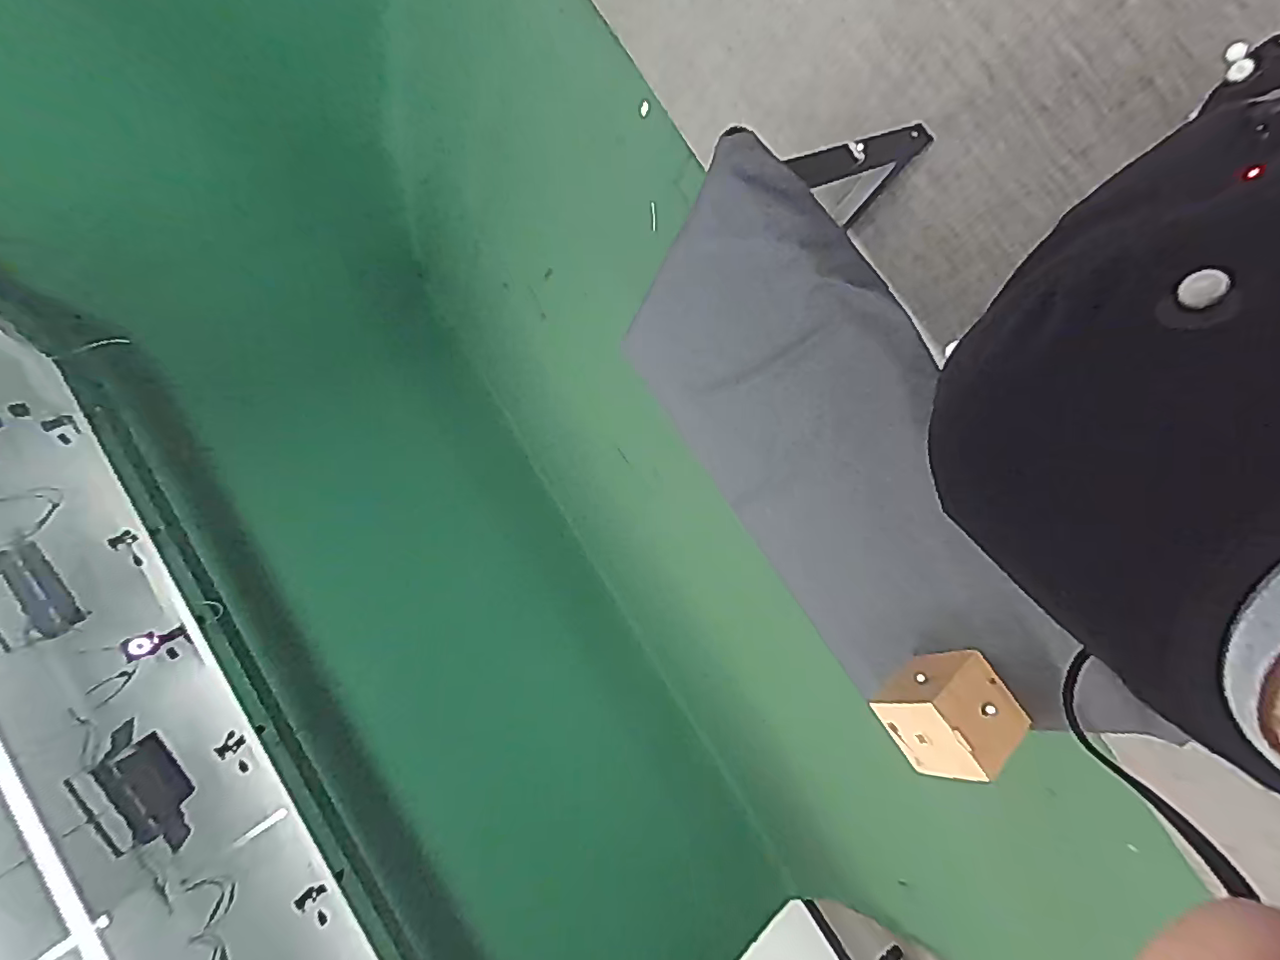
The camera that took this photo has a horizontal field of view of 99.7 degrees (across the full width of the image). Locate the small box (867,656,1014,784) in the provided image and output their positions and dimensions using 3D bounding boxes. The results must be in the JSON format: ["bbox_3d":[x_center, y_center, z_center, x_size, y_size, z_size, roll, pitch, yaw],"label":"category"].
[{"bbox_3d":[0.608,0.473,1.085,0.168,0.176,0.179,56,150,8],"label":"small box"}]
